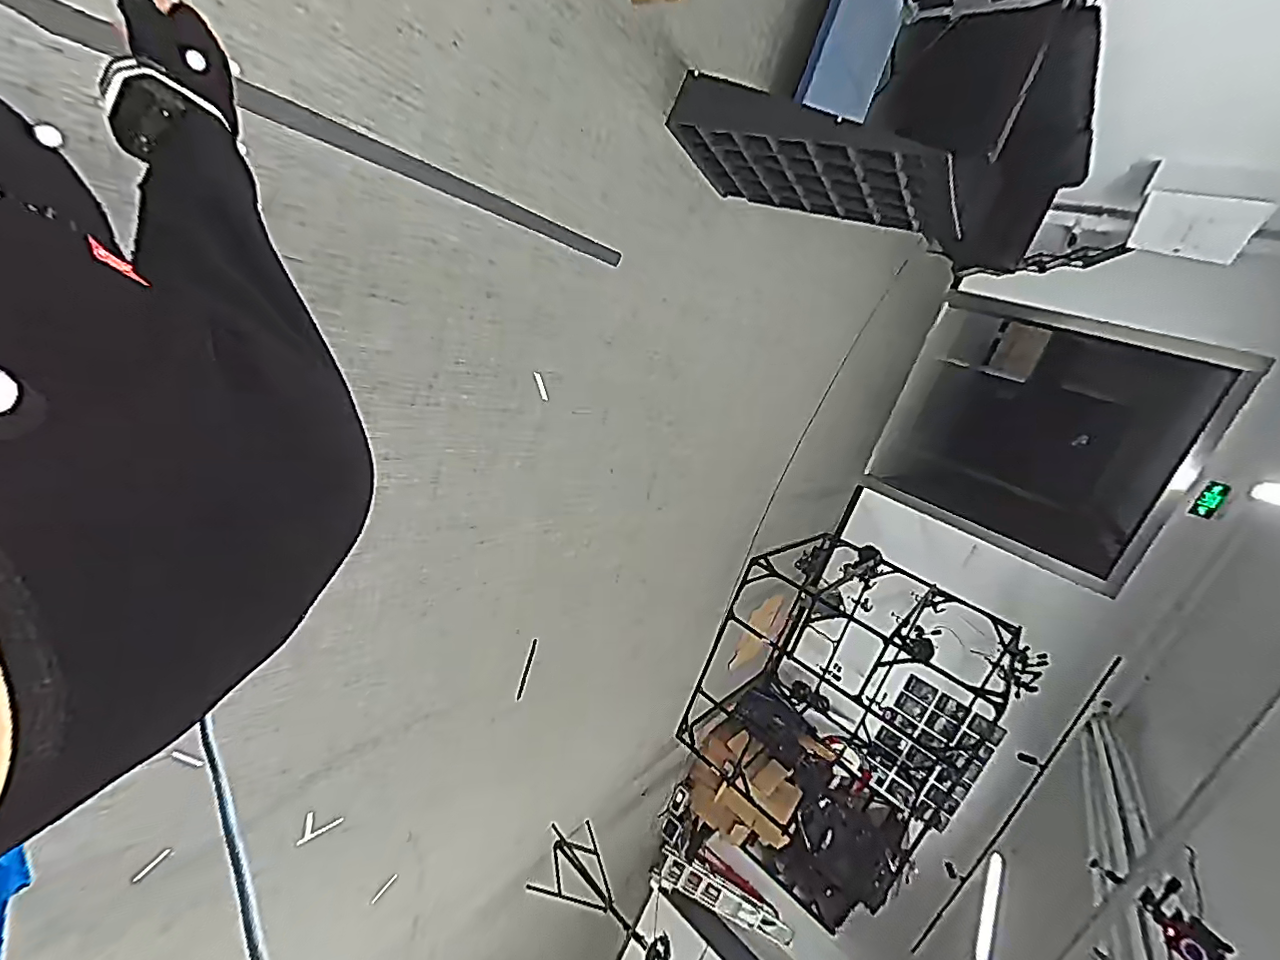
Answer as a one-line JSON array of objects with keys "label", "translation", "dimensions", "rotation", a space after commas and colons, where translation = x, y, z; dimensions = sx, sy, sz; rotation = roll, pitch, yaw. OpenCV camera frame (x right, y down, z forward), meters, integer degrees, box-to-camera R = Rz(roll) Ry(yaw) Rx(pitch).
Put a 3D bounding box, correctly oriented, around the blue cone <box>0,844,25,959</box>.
[{"label": "blue cone", "translation": [-1.515, 1.063, 1.223], "dimensions": [0.192, 0.380, 0.193], "rotation": [-10, 123, -53]}]
